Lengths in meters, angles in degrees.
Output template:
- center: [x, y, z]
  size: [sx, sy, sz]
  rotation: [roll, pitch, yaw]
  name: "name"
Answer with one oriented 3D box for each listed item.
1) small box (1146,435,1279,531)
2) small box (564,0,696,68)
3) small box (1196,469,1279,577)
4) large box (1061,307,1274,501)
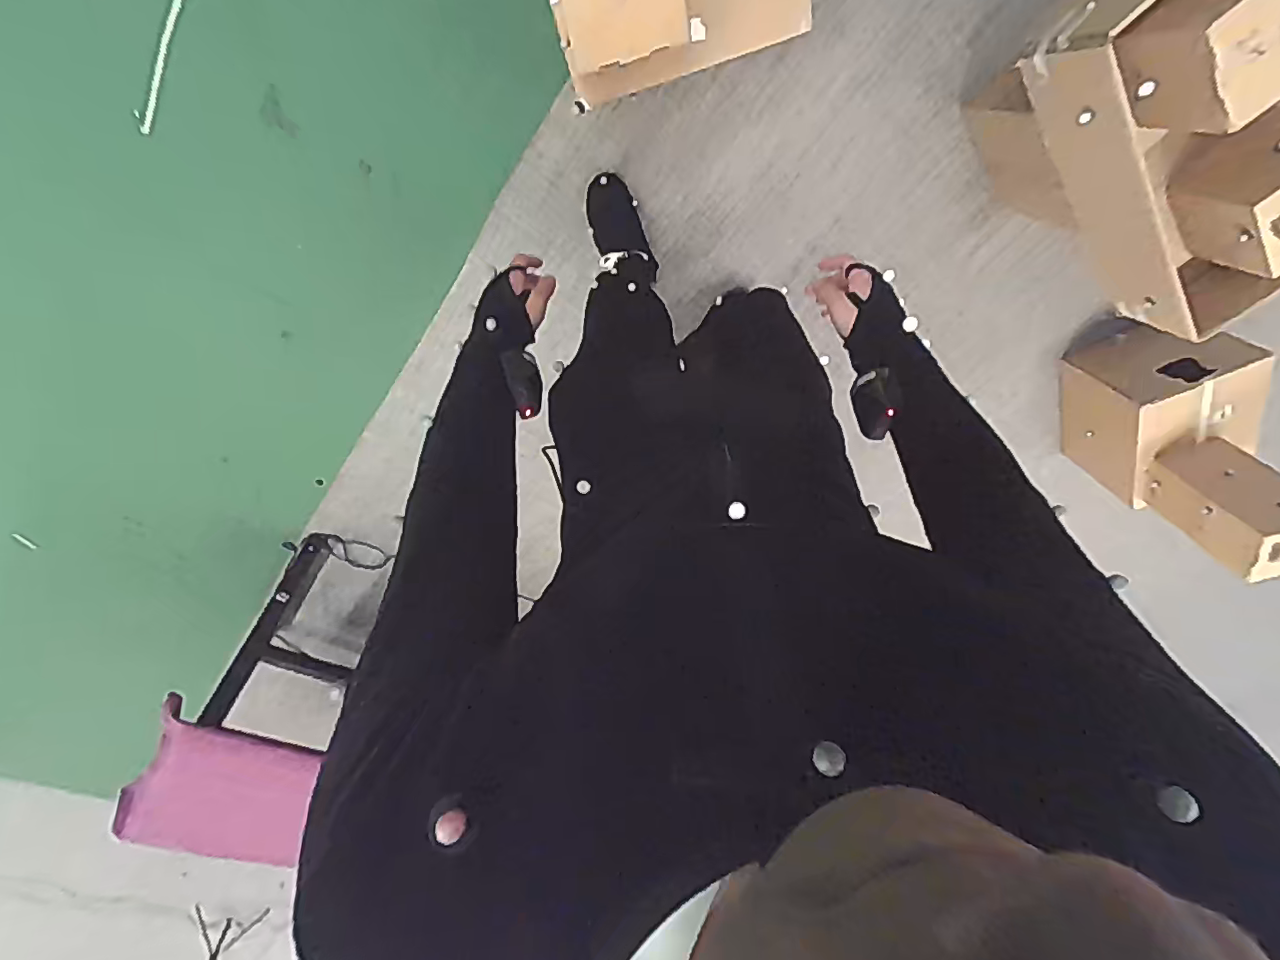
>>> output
- center: [1.527, 0.003, 1.448]
  size: [0.179, 0.176, 0.168]
  rotation: [-18, 125, 11]
  name: "small box"
- center: [-0.028, -0.709, 0.765]
  size: [0.168, 0.176, 0.179]
  rotation: [-15, 128, 4]
  name: "small box"
- center: [1.529, 0.101, 1.316]
  size: [0.179, 0.176, 0.168]
  rotation: [-19, 125, 10]
  name: "small box"
- center: [1.505, -0.220, 1.585]
  size: [0.320, 0.320, 0.408]
  rotation: [-25, 124, 13]
  name: "large box"
